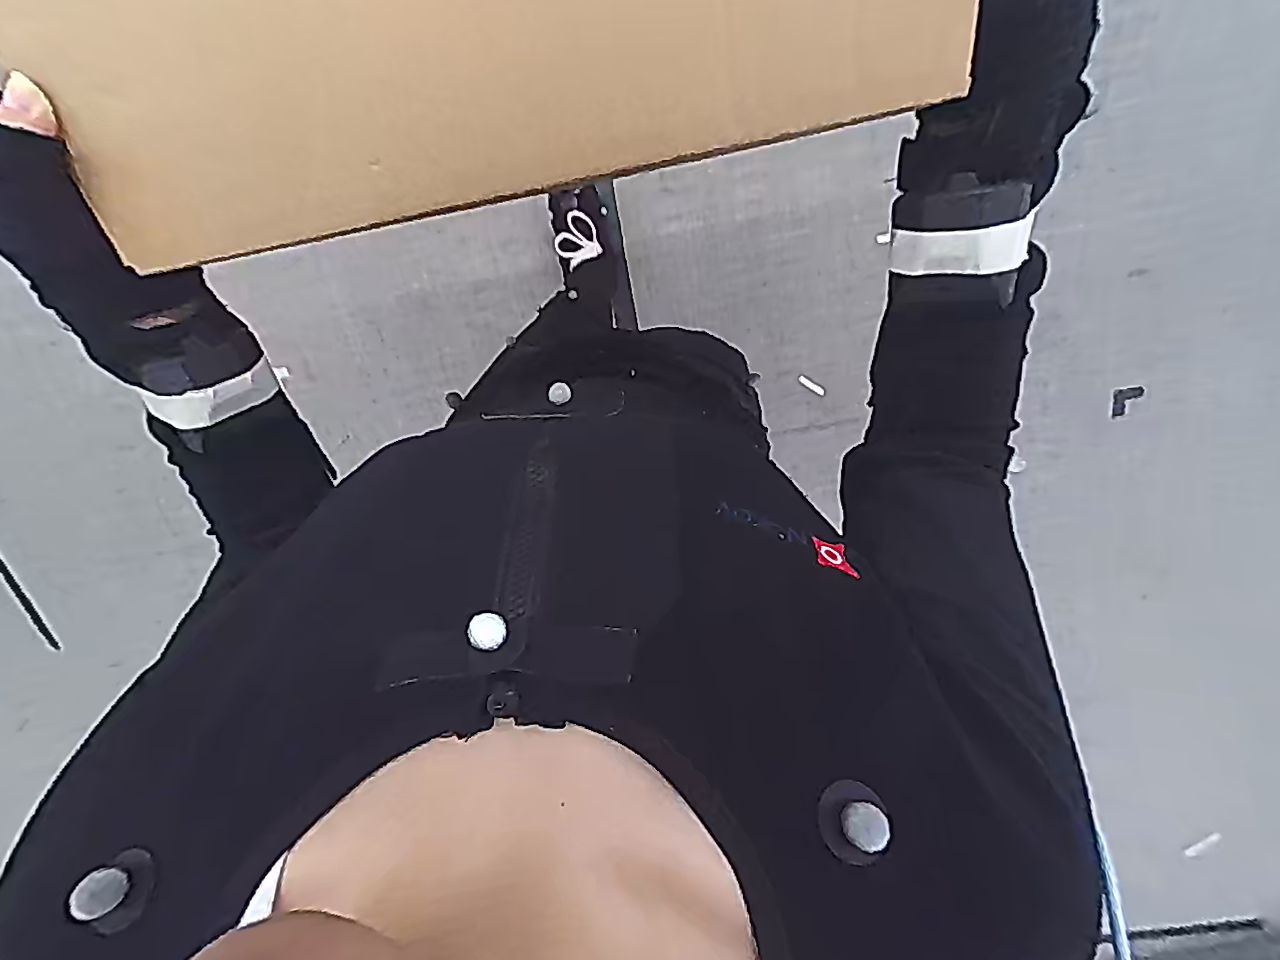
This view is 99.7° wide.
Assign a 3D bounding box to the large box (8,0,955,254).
[{"bbox_3d":[-0.086,-0.354,0.320,0.408,0.320,0.320,-9,120,5],"label":"large box"}]
